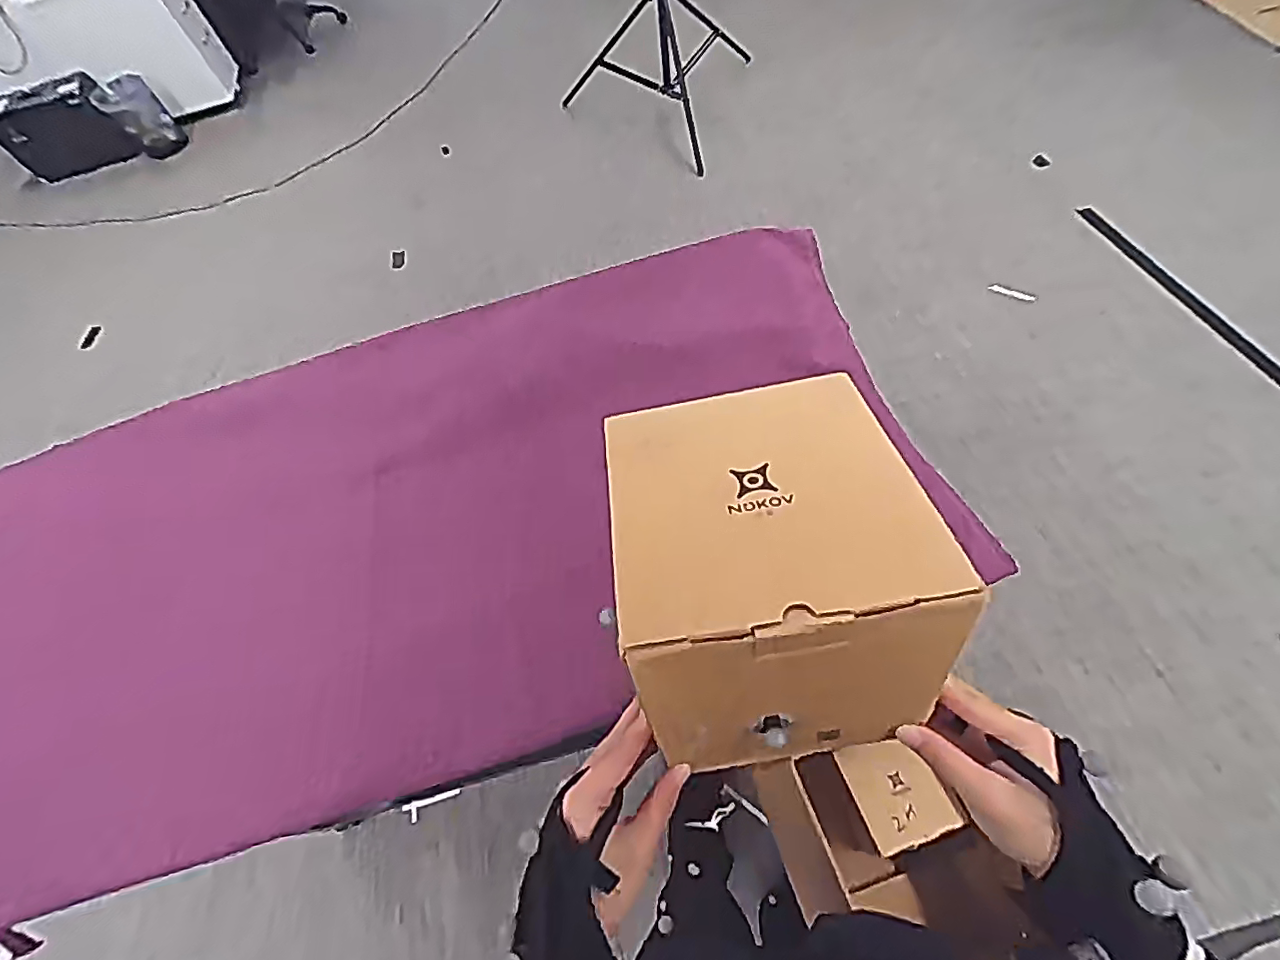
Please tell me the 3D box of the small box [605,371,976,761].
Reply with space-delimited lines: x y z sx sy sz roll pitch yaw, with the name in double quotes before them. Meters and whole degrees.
"small box" 0.075 0.057 0.358 0.168 0.176 0.179 -11 45 3
